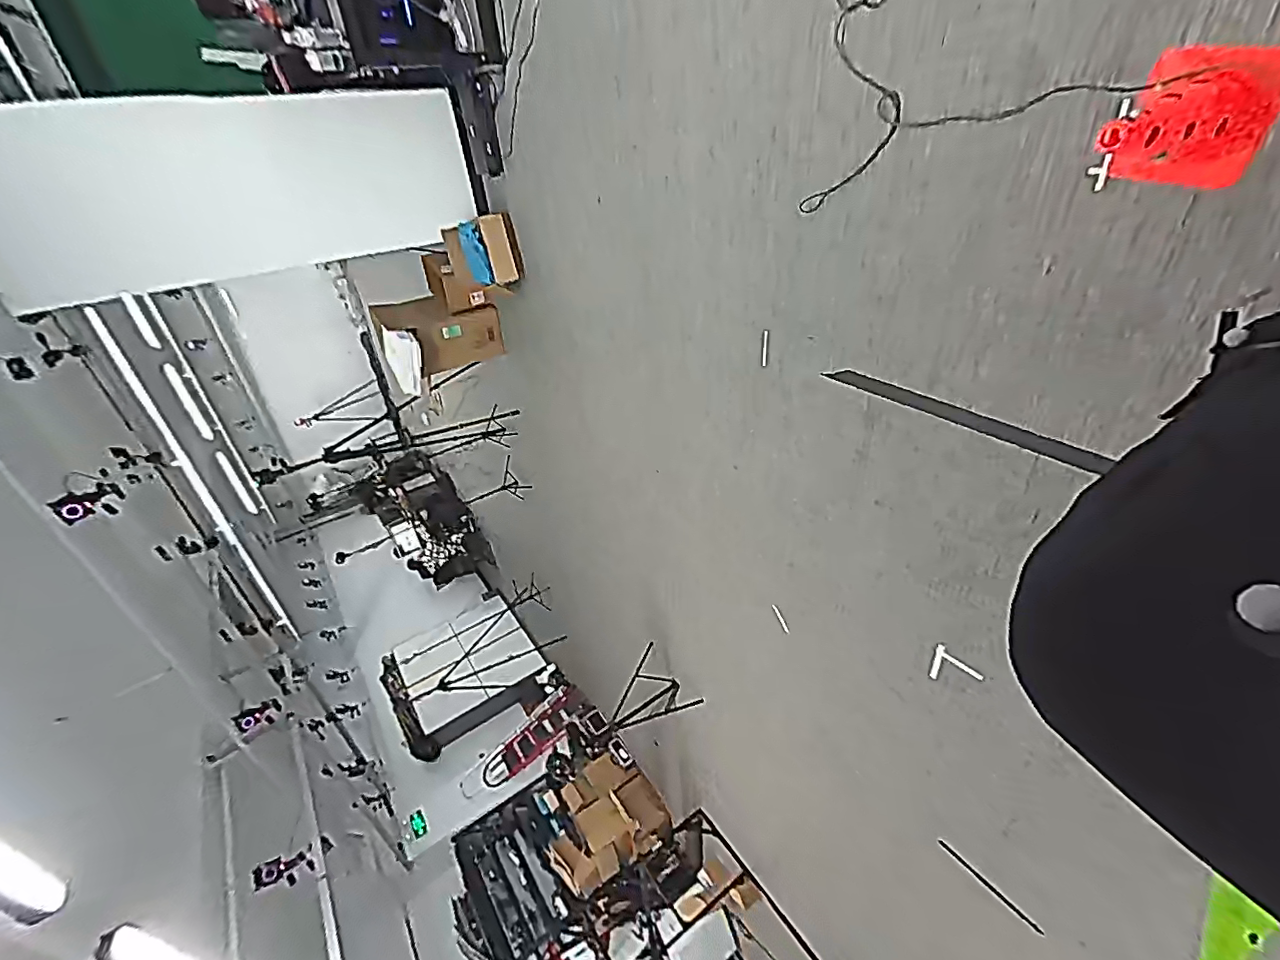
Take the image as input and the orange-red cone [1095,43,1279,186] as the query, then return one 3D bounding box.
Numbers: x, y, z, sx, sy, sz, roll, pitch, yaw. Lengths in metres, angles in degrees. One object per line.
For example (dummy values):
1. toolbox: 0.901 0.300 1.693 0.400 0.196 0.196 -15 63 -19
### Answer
1. orange-red cone: 0.829 -0.568 0.865 0.199 0.360 0.198 41 145 38
